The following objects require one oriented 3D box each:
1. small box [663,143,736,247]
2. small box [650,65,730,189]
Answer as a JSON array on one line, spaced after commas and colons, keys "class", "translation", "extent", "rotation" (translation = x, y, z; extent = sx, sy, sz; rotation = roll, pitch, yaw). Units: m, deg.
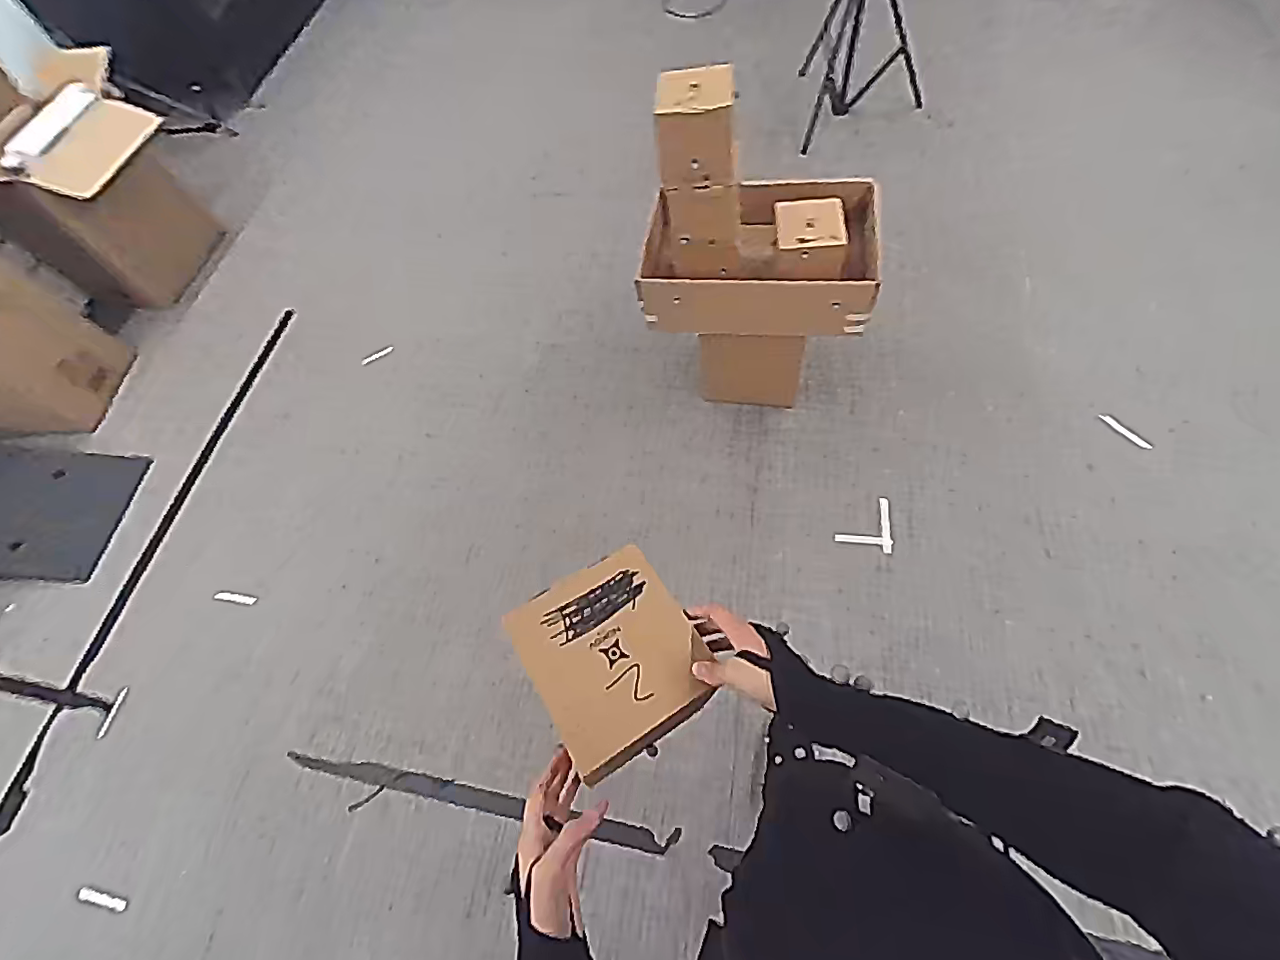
[{"class": "small box", "translation": [0.154, -0.708, 1.360], "extent": [0.168, 0.176, 0.179], "rotation": [2, 62, 10]}, {"class": "small box", "translation": [0.119, -0.792, 1.221], "extent": [0.168, 0.176, 0.179], "rotation": [0, 62, 10]}]
